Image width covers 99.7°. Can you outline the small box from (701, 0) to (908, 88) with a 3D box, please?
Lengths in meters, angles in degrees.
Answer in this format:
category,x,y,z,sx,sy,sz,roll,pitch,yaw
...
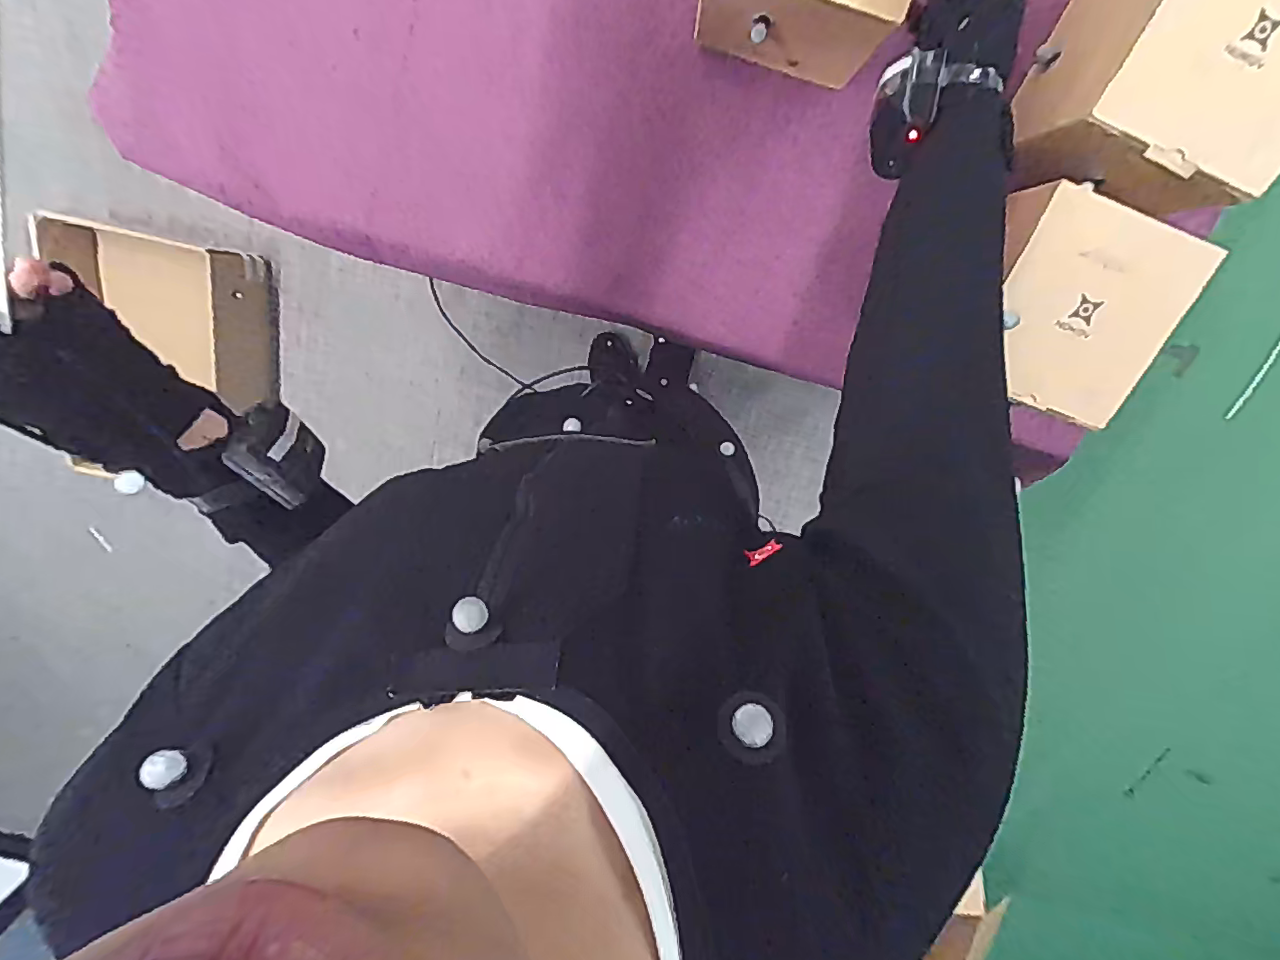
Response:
category,x,y,z,sx,sy,sz,roll,pitch,yaw
small box,0.155,-0.483,0.469,0.168,0.176,0.179,16,109,-3

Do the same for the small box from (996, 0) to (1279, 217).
category,x,y,z,sx,sy,sz,roll,pitch,yaw
small box,0.473,-0.363,0.494,0.168,0.176,0.179,23,110,-6
